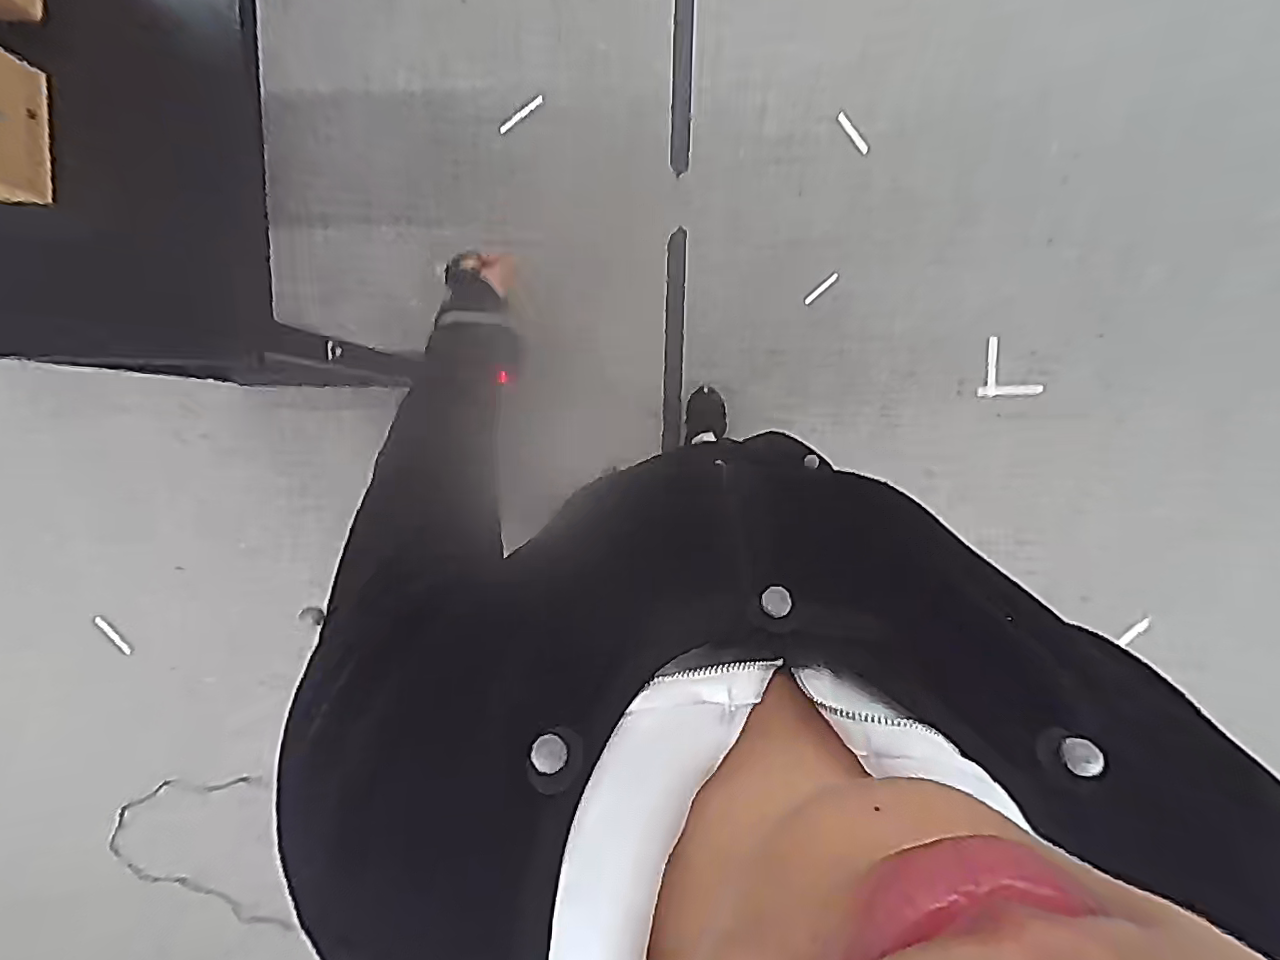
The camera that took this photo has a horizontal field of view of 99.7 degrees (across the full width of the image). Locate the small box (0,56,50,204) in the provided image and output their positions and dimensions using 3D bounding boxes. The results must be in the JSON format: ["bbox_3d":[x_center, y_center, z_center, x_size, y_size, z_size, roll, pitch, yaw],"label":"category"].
[{"bbox_3d":[-0.879,-0.452,0.652,0.179,0.176,0.168,4,95,1],"label":"small box"}]
